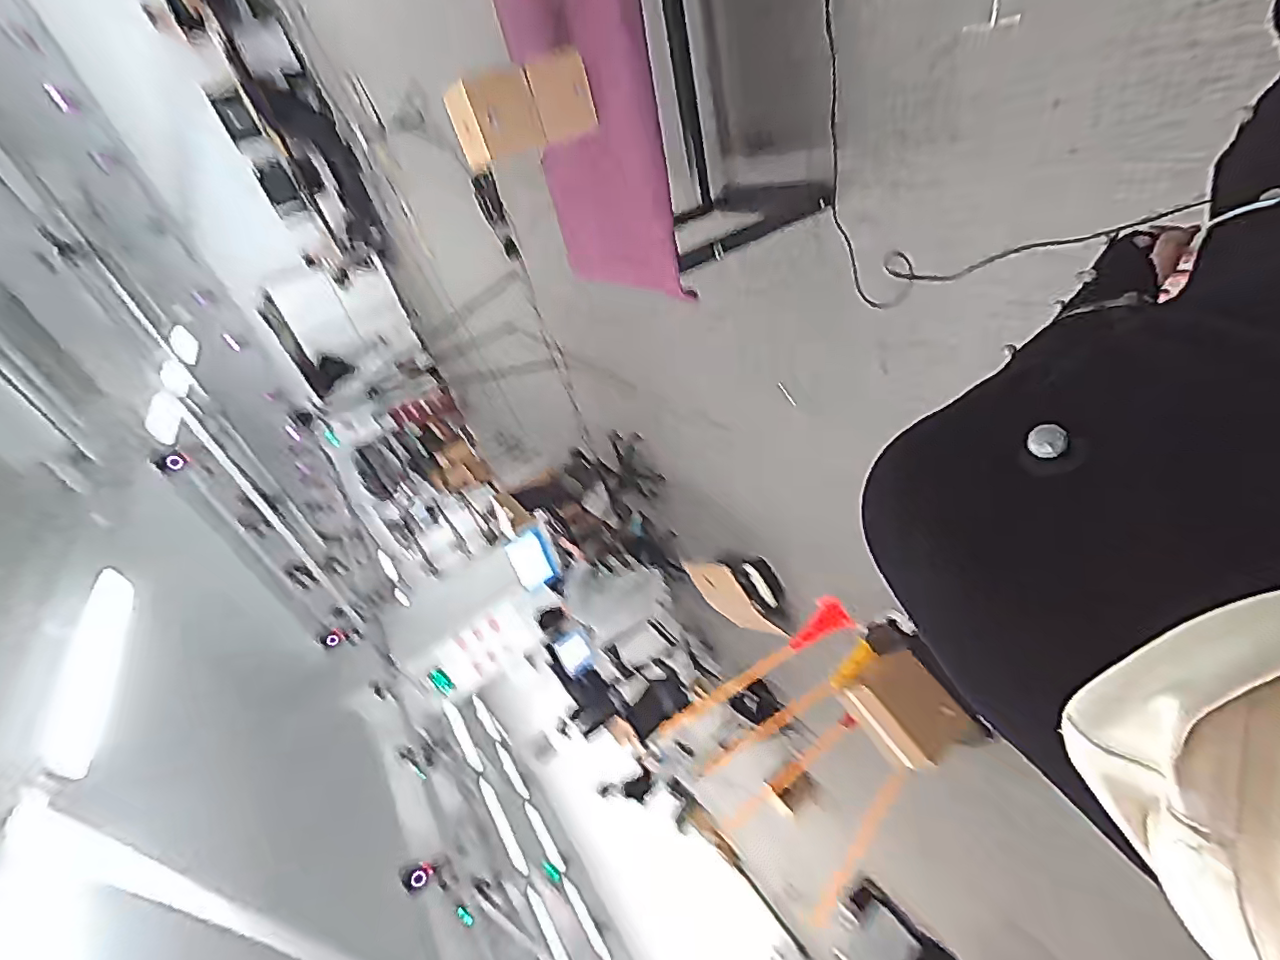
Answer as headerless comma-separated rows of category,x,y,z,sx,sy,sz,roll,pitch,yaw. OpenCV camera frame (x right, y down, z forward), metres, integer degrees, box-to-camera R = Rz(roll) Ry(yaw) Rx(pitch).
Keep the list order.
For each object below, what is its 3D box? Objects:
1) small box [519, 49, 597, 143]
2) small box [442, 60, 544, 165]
small box,-0.238,-1.013,1.434,0.168,0.176,0.179,32,146,50
small box,-0.368,-0.931,1.376,0.168,0.176,0.179,30,145,50
